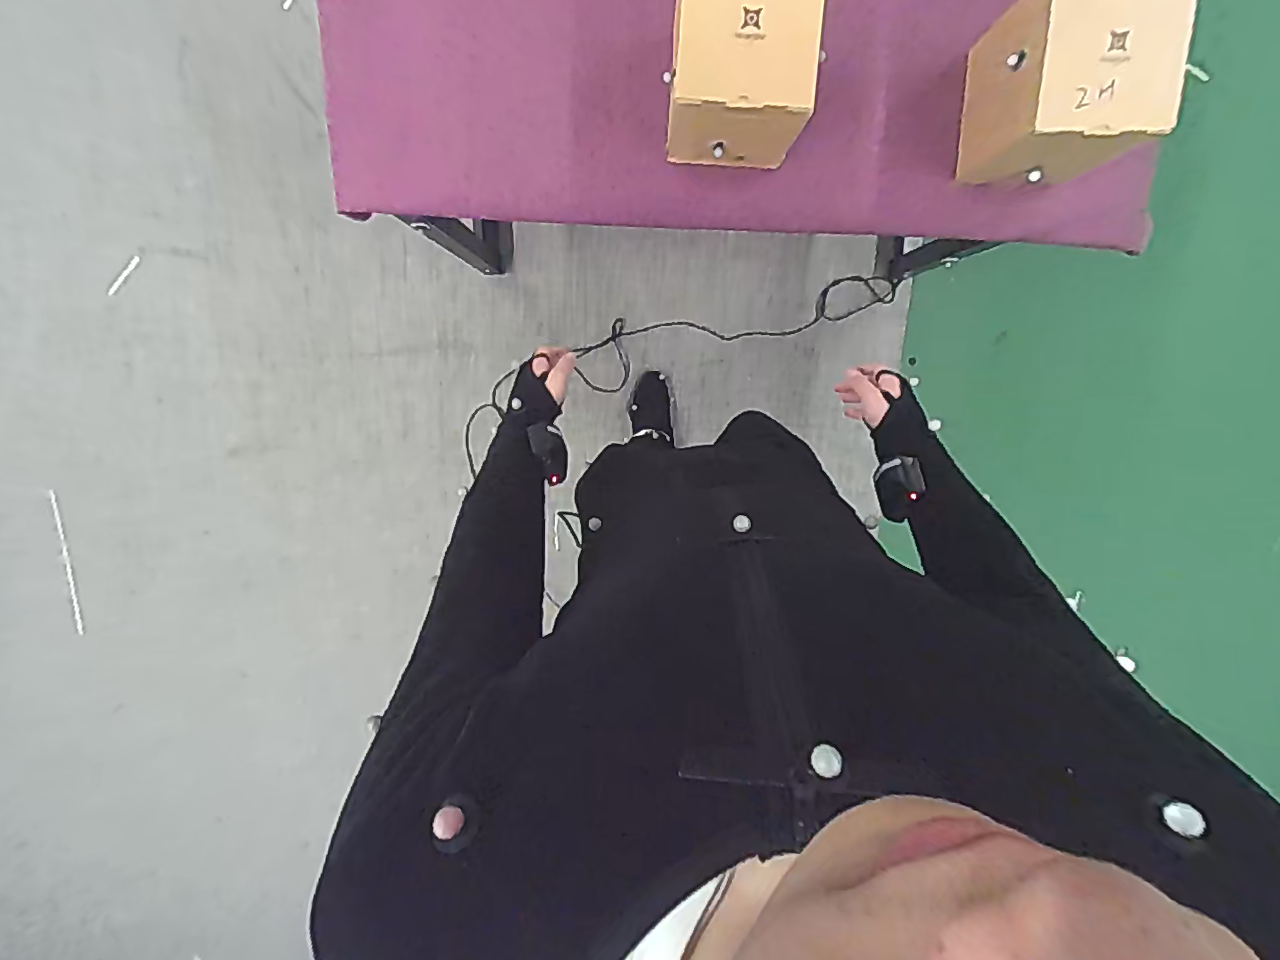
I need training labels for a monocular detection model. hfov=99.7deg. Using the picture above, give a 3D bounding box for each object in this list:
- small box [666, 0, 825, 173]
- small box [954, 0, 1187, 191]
[{"bbox_3d":[0.125,-0.529,0.700,0.168,0.176,0.179,3,101,-2],"label":"small box"},{"bbox_3d":[0.544,-0.504,0.710,0.168,0.176,0.179,1,102,0],"label":"small box"}]
